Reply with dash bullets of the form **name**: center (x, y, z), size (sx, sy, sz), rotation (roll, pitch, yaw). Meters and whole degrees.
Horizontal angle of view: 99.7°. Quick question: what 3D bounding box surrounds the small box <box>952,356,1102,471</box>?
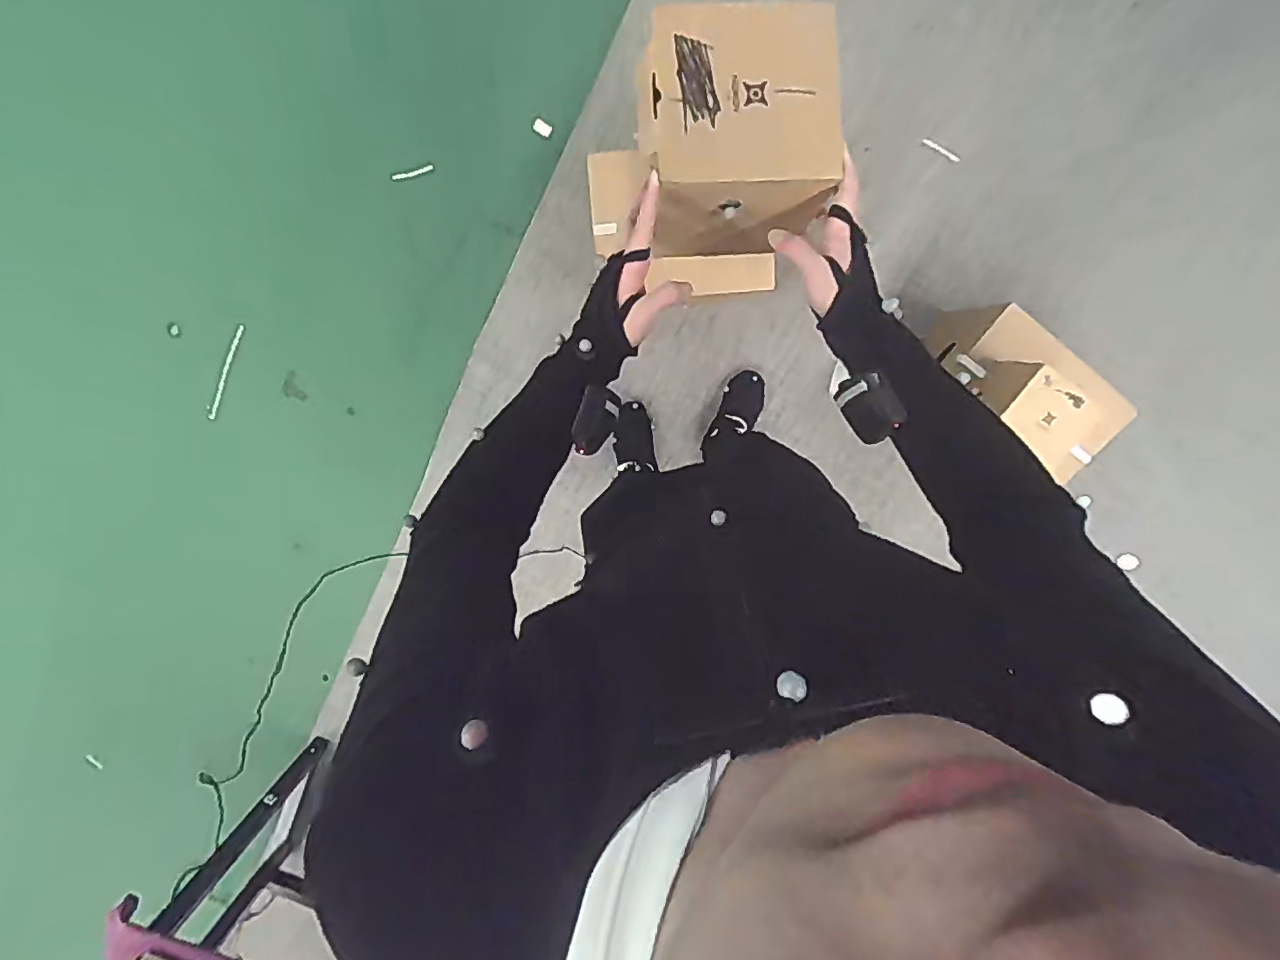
- **small box**: center (0.817, -0.149, 1.170), size (0.168, 0.176, 0.179), rotation (33, 104, -6)

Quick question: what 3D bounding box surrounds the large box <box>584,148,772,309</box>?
- **large box**: center (0.096, -0.608, 1.337), size (0.408, 0.320, 0.320), rotation (-4, 103, 4)

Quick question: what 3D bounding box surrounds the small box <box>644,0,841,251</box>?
- **small box**: center (0.094, -0.357, 0.574), size (0.179, 0.176, 0.168), rotation (-3, 92, -2)
